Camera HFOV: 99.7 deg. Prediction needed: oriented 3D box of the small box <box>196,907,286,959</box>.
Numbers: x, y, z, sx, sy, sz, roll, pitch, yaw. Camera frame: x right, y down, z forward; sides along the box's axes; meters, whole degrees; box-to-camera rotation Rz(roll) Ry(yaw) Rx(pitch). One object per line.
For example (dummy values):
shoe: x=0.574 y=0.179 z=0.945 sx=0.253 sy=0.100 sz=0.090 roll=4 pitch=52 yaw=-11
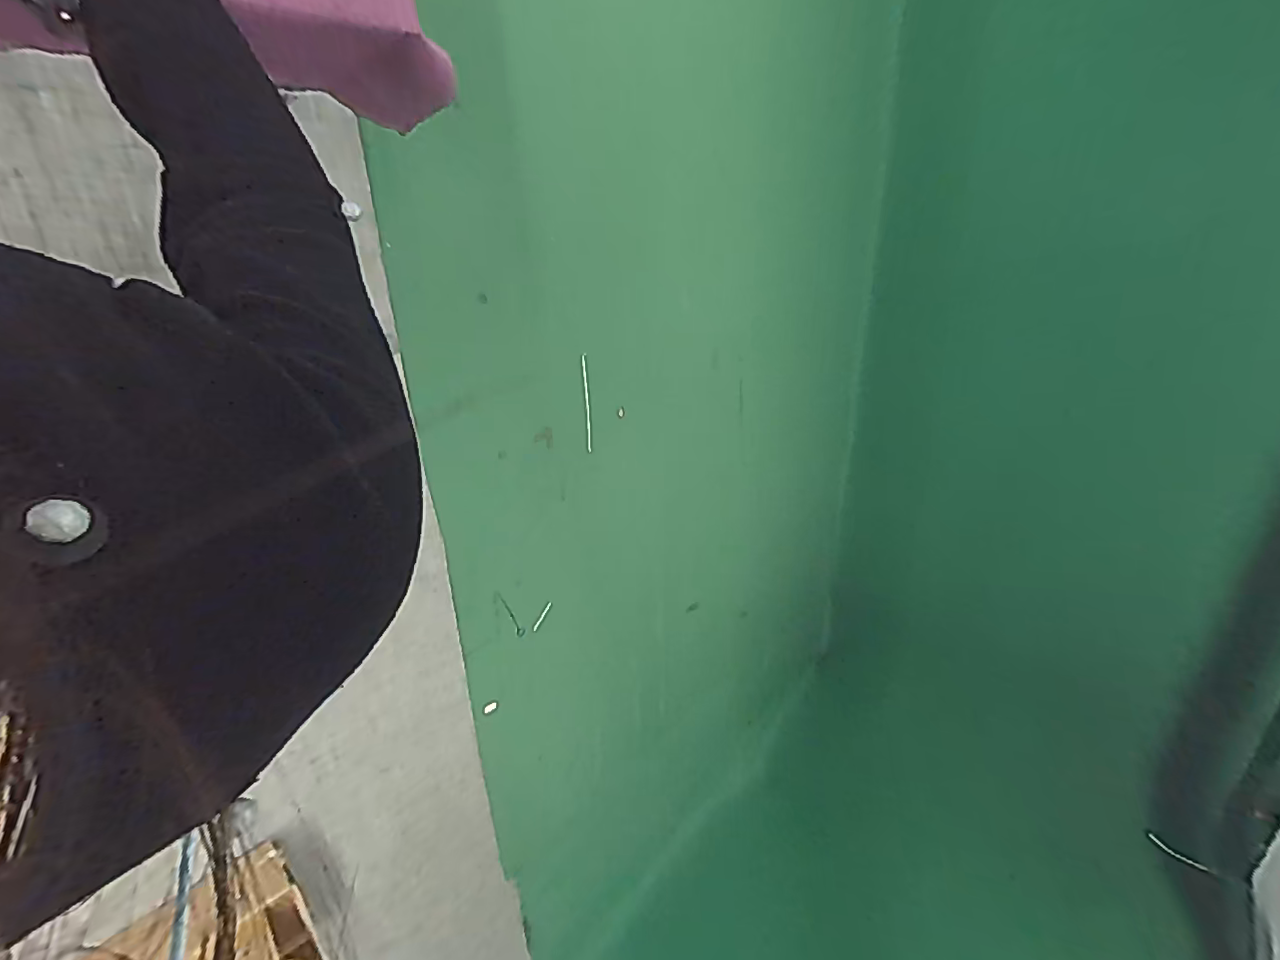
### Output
small box: x=-1.064 y=1.308 z=1.454 sx=0.168 sy=0.176 sz=0.179 roll=-18 pitch=117 yaw=-42
